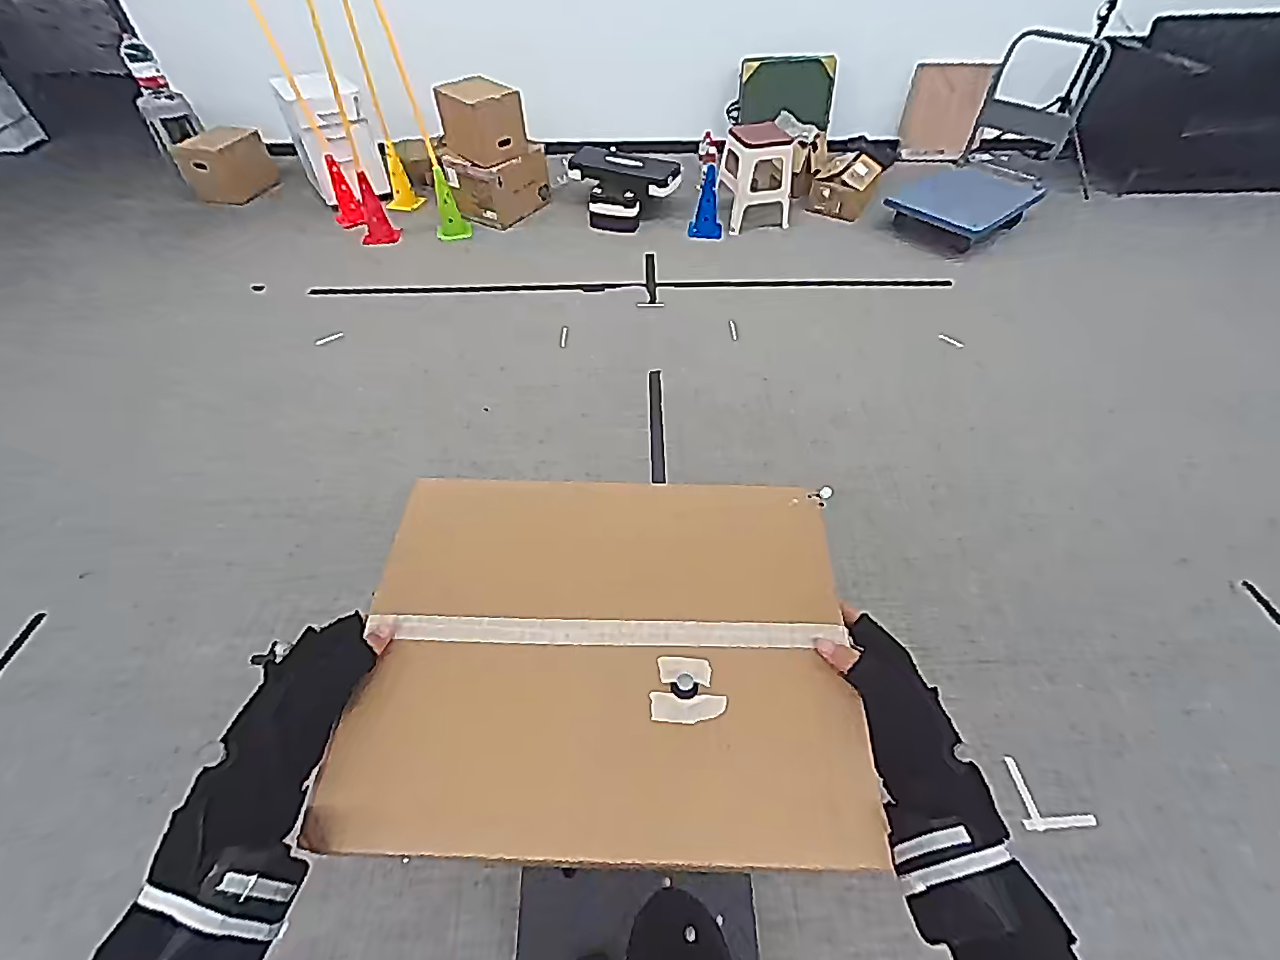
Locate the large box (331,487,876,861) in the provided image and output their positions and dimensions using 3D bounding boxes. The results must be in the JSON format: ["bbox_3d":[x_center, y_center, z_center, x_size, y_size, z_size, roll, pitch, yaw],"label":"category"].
[{"bbox_3d":[-0.026,0.222,0.594,0.408,0.320,0.320,2,54,1],"label":"large box"}]
